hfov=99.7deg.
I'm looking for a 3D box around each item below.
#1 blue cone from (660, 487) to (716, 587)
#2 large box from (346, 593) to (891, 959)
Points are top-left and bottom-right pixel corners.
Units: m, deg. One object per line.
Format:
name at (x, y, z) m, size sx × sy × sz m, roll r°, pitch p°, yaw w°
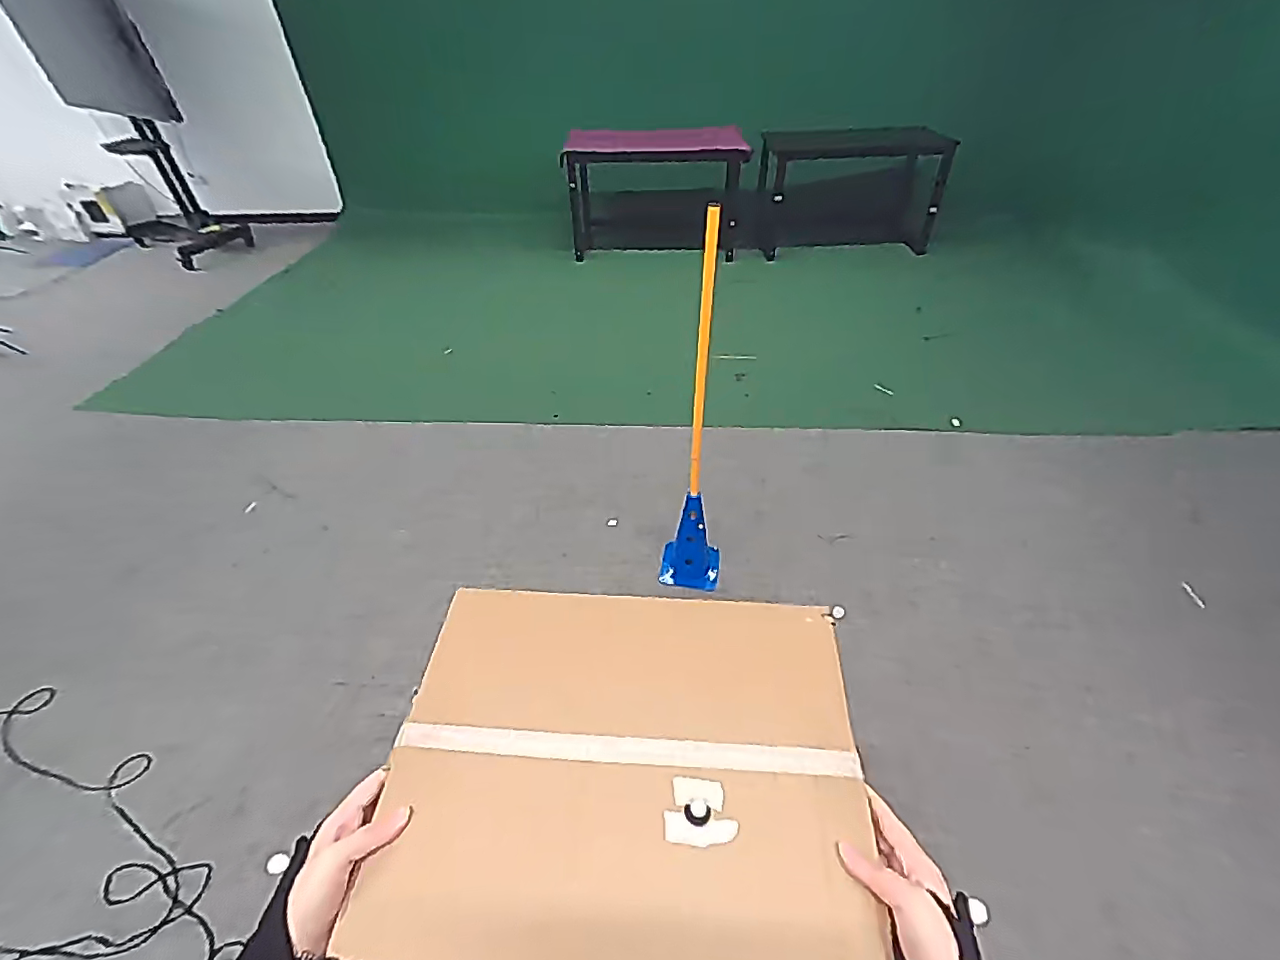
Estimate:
blue cone at (0.171, 0.180, 1.831) m, size 0.193 × 0.380 × 0.192 m, roll 7°, pitch 42°, yaw 10°
large box at (-0.009, 0.345, 0.593) m, size 0.408 × 0.320 × 0.320 m, roll 2°, pitch 47°, yaw 4°
